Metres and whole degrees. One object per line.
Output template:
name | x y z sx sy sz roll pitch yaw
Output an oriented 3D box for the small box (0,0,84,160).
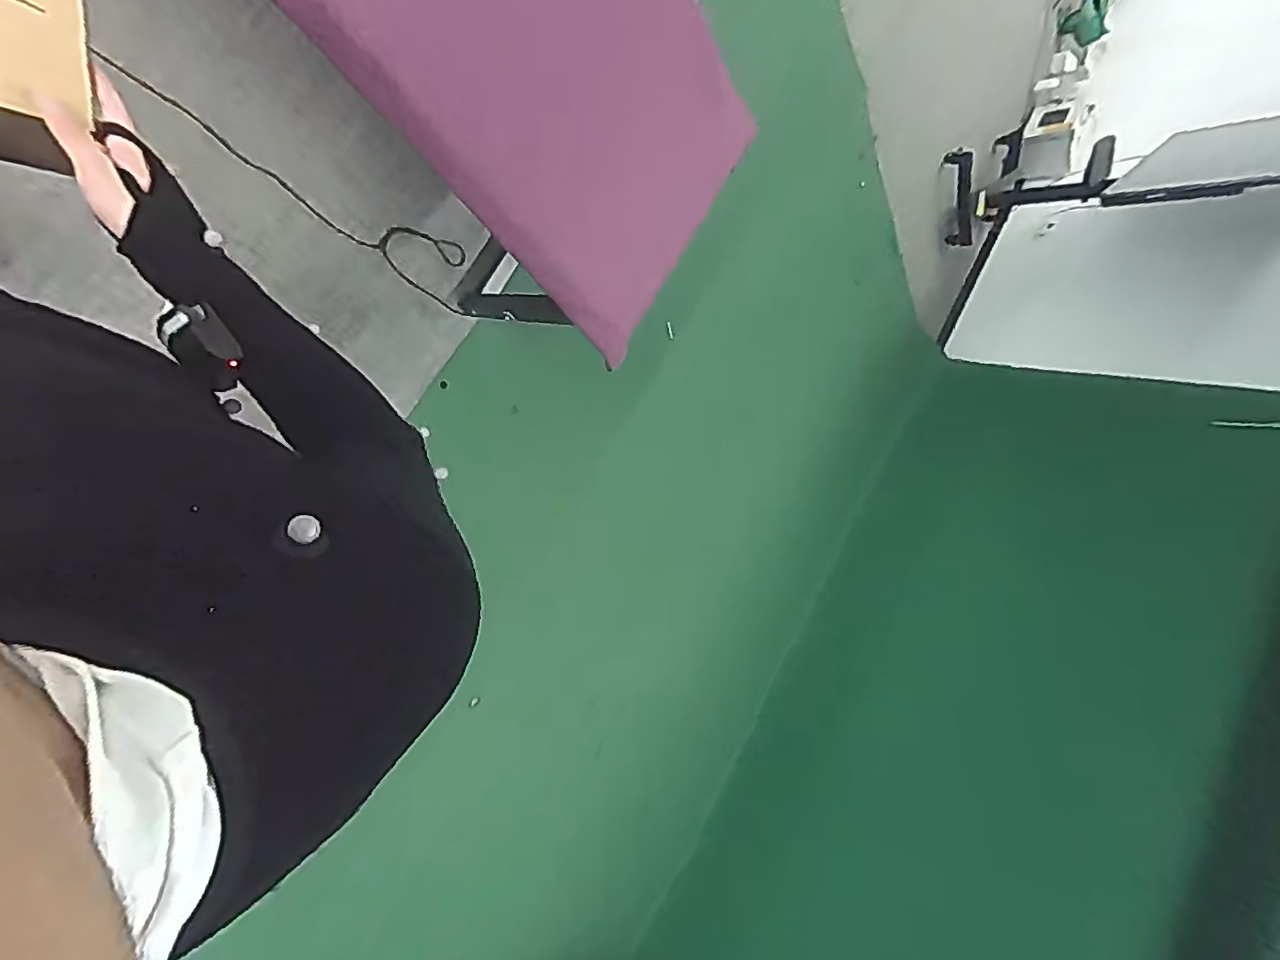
small box | -0.563 -0.379 0.420 0.179 0.176 0.168 -6 103 -47
